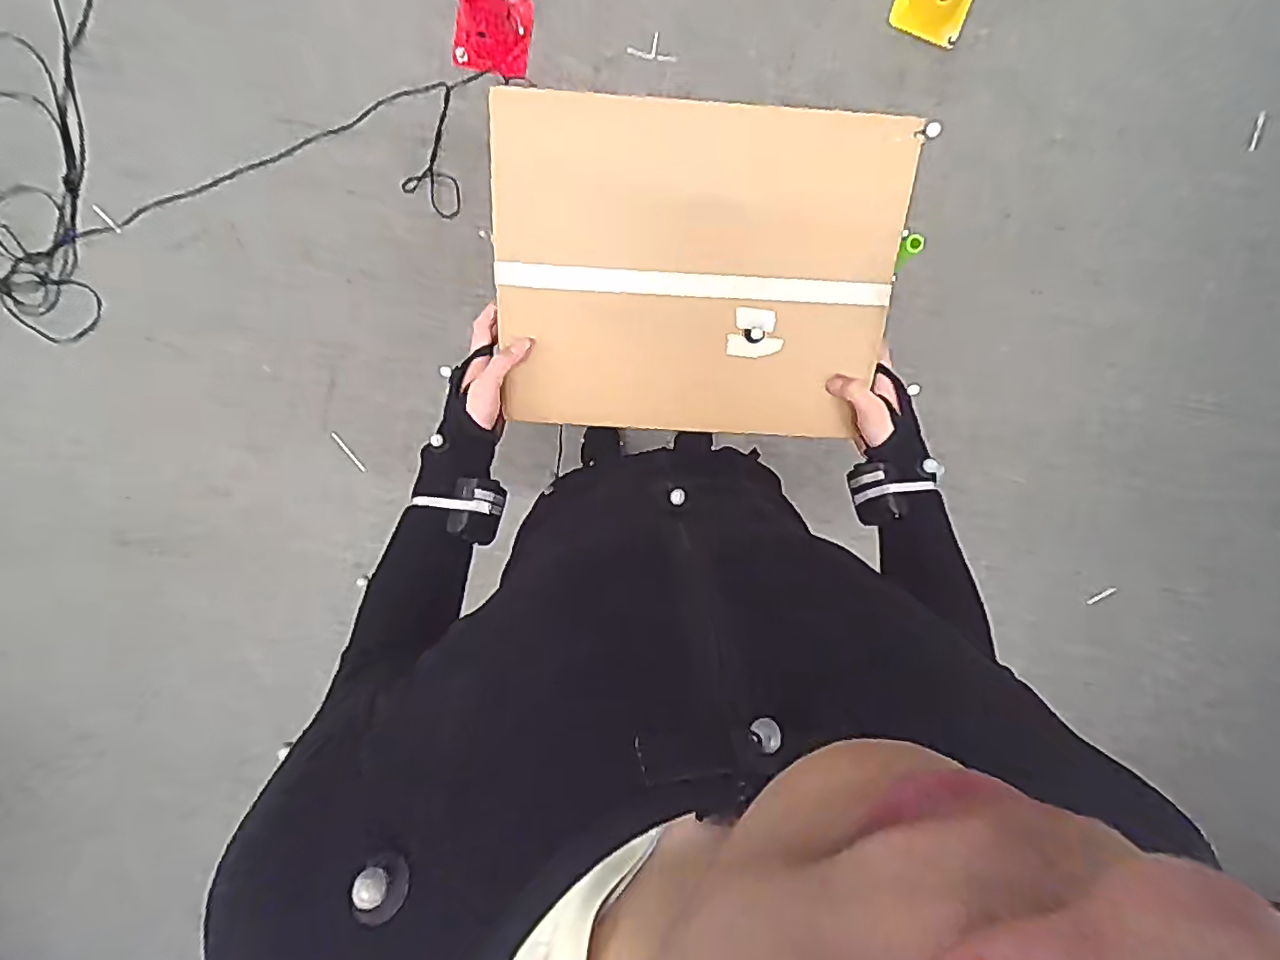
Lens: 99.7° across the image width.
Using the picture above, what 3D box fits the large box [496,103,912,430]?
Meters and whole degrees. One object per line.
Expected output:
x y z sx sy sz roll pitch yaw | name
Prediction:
0.053 -0.256 0.700 0.408 0.320 0.320 2 112 -3 | large box
